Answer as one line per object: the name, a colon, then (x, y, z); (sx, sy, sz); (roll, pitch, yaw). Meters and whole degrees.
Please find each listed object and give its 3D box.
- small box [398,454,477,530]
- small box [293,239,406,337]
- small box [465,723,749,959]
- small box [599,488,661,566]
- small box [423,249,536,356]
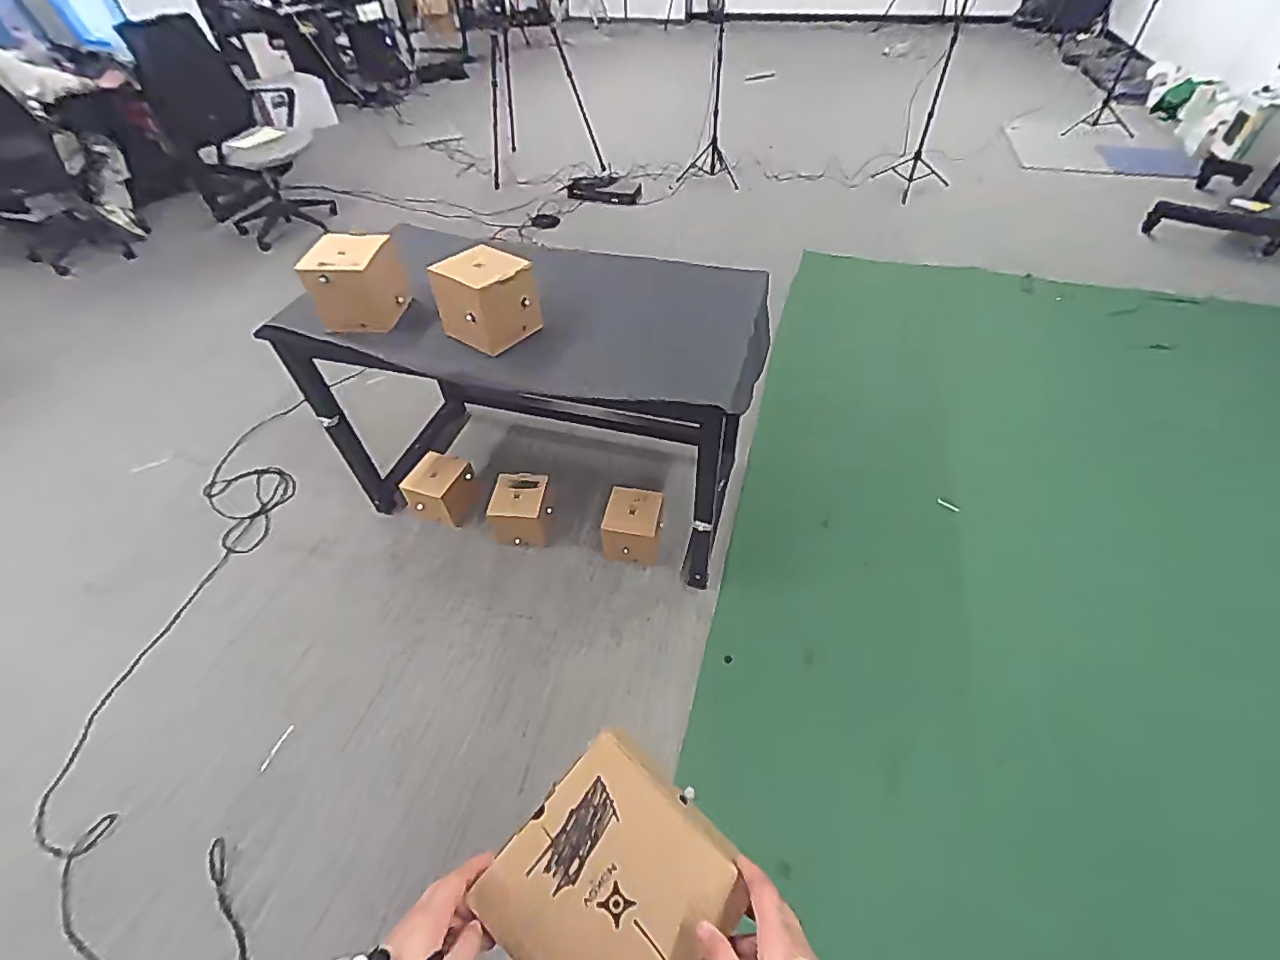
small box: (-0.683, 0.044, 1.852); (0.168, 0.176, 0.179); (14, 50, 15)
small box: (-0.702, -0.474, 1.335); (0.168, 0.176, 0.179); (1, 48, 4)
small box: (-0.026, 0.359, 0.510); (0.179, 0.176, 0.168); (39, 73, 17)
small box: (-0.026, 0.153, 1.719); (0.168, 0.176, 0.179); (8, 49, 8)
small box: (-0.366, -0.414, 1.267); (0.179, 0.176, 0.168); (26, 51, 26)
